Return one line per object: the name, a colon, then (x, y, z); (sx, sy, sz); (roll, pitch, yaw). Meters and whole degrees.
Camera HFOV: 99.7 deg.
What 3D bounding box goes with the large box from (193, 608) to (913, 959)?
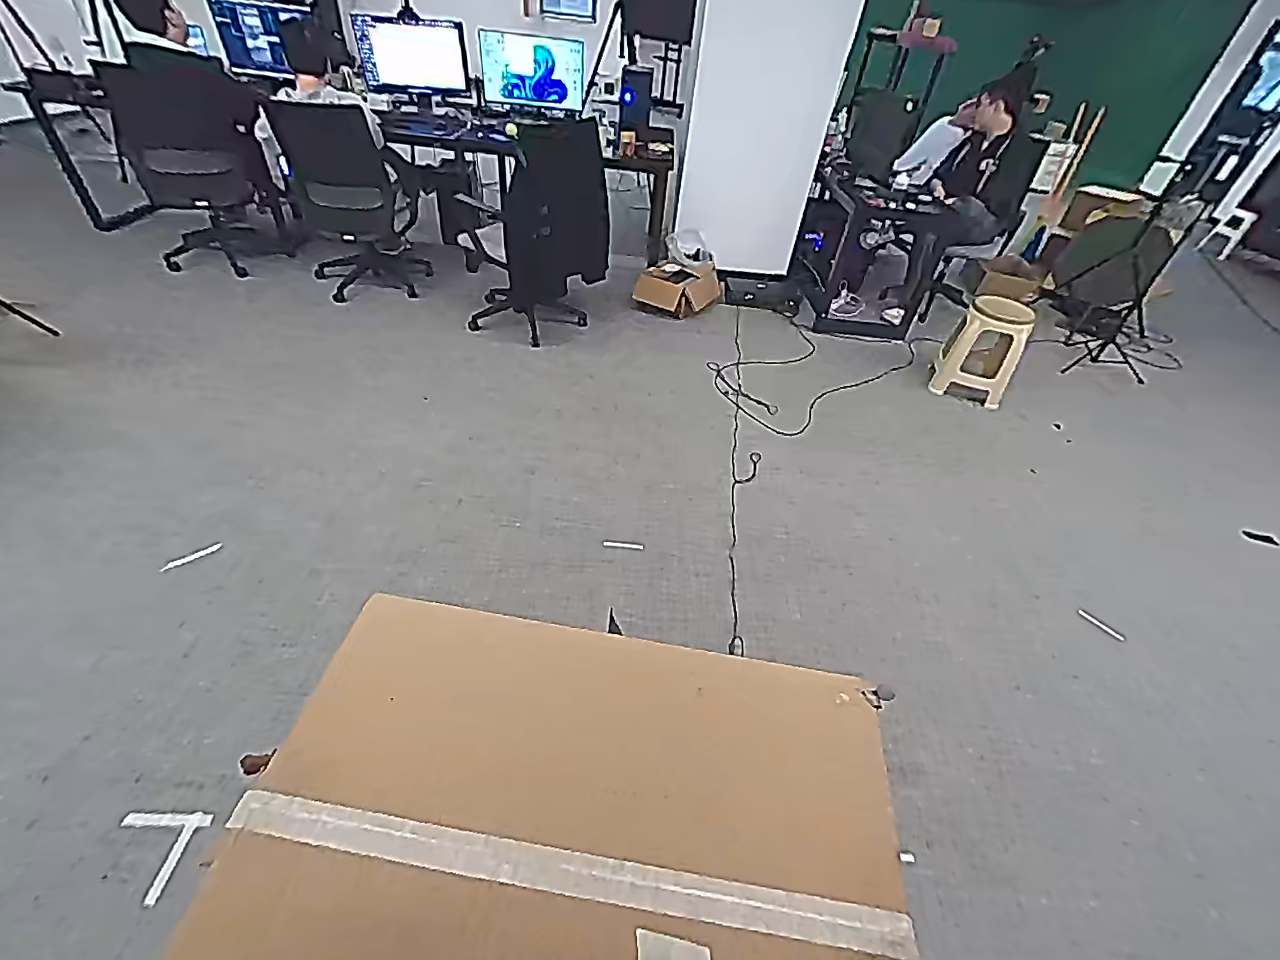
large box: (-0.048, 0.343, 0.436); (0.408, 0.320, 0.320); (10, 47, 2)
